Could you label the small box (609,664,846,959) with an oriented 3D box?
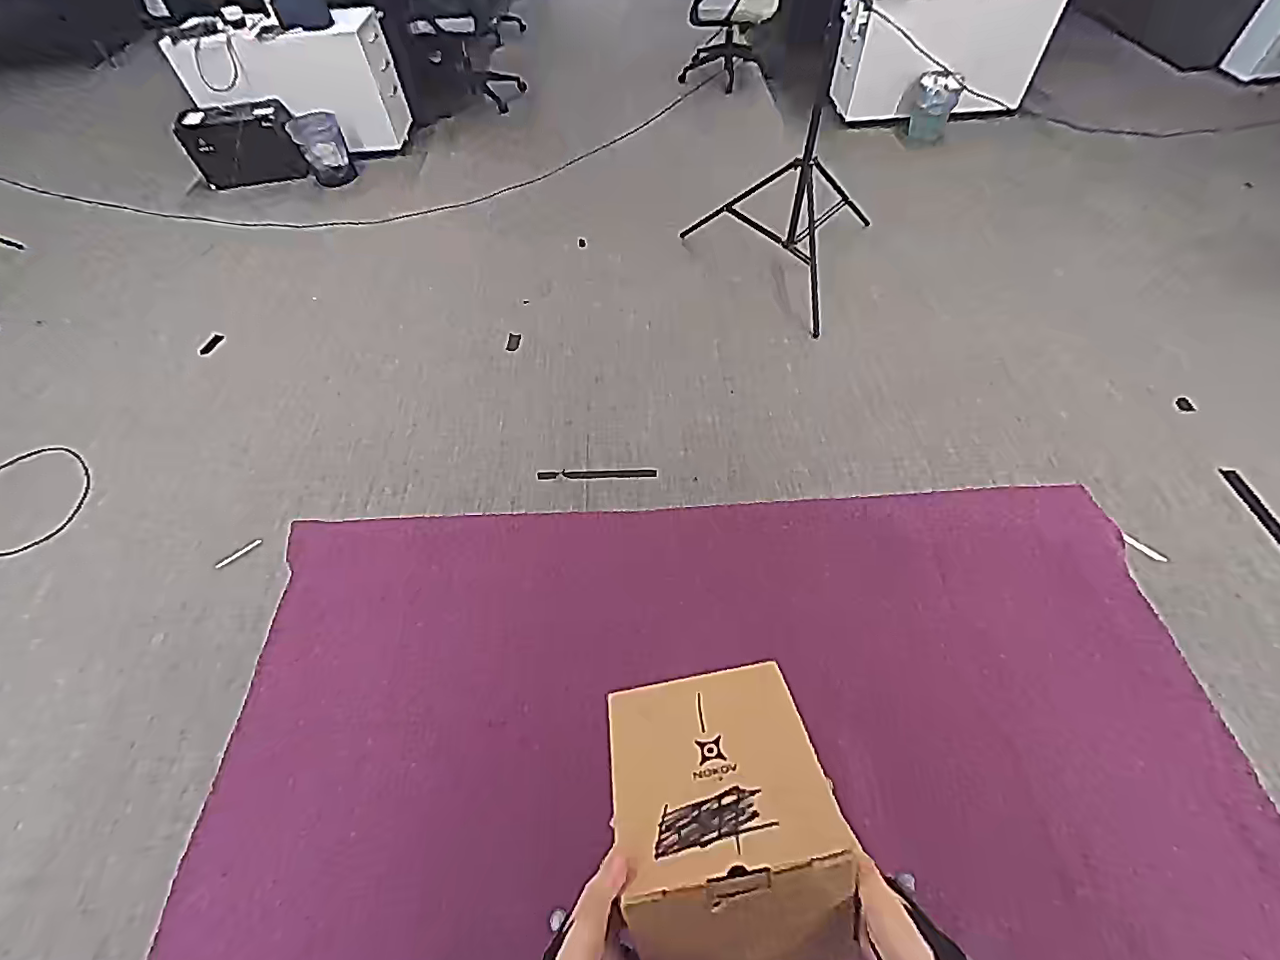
[{"bbox_3d":[0.070,0.301,0.480,0.168,0.176,0.179,-11,27,0],"label":"small box"}]
